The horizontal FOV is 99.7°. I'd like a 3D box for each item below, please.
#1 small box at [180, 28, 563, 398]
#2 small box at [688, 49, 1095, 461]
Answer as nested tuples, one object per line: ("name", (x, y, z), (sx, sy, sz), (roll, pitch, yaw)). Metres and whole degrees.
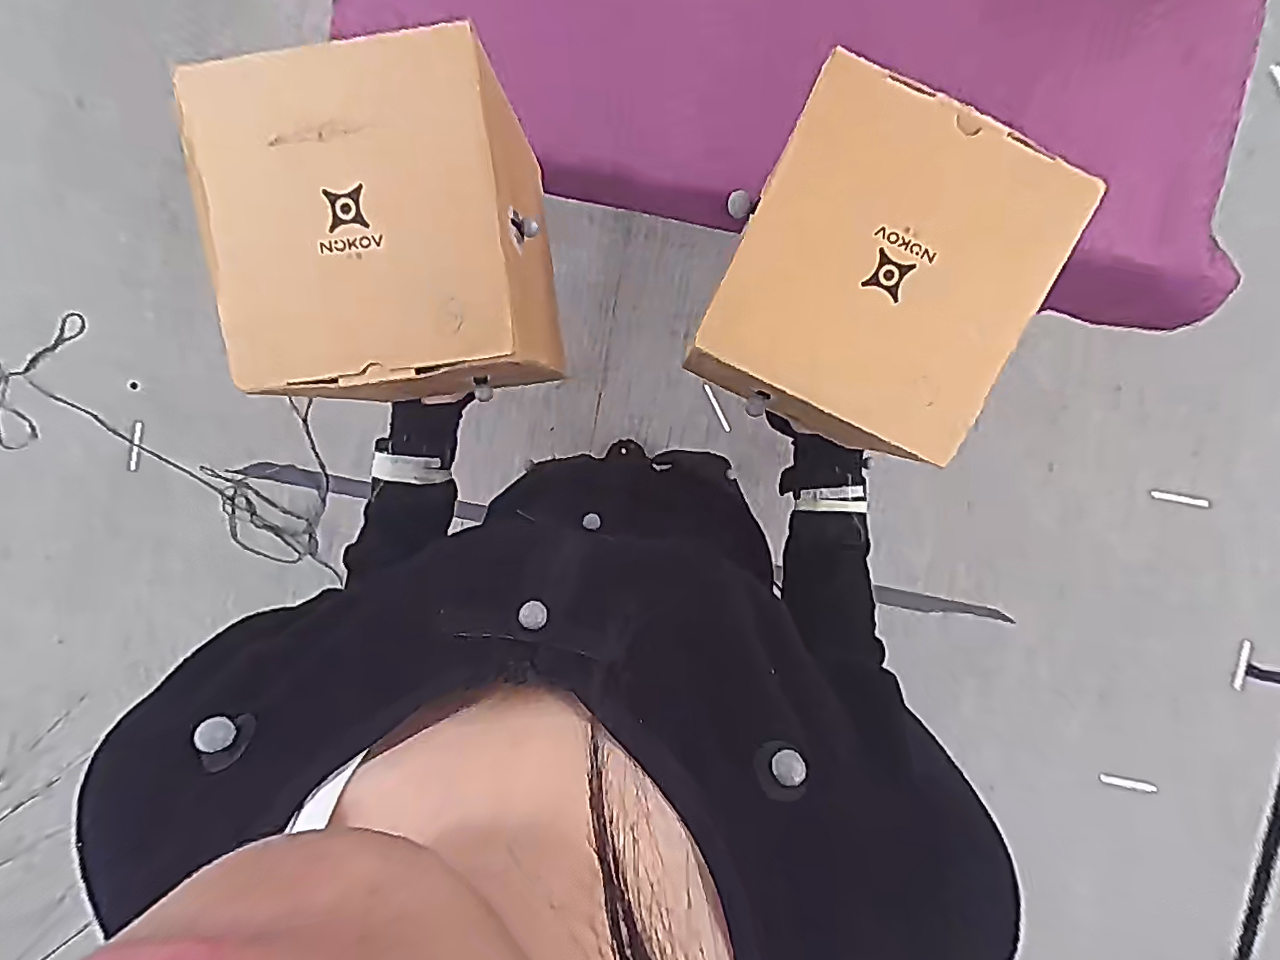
("small box", (-0.155, -0.152, 0.376), (0.168, 0.176, 0.179), (-7, 95, 2))
("small box", (0.142, -0.130, 0.382), (0.168, 0.176, 0.179), (25, 96, -2))
